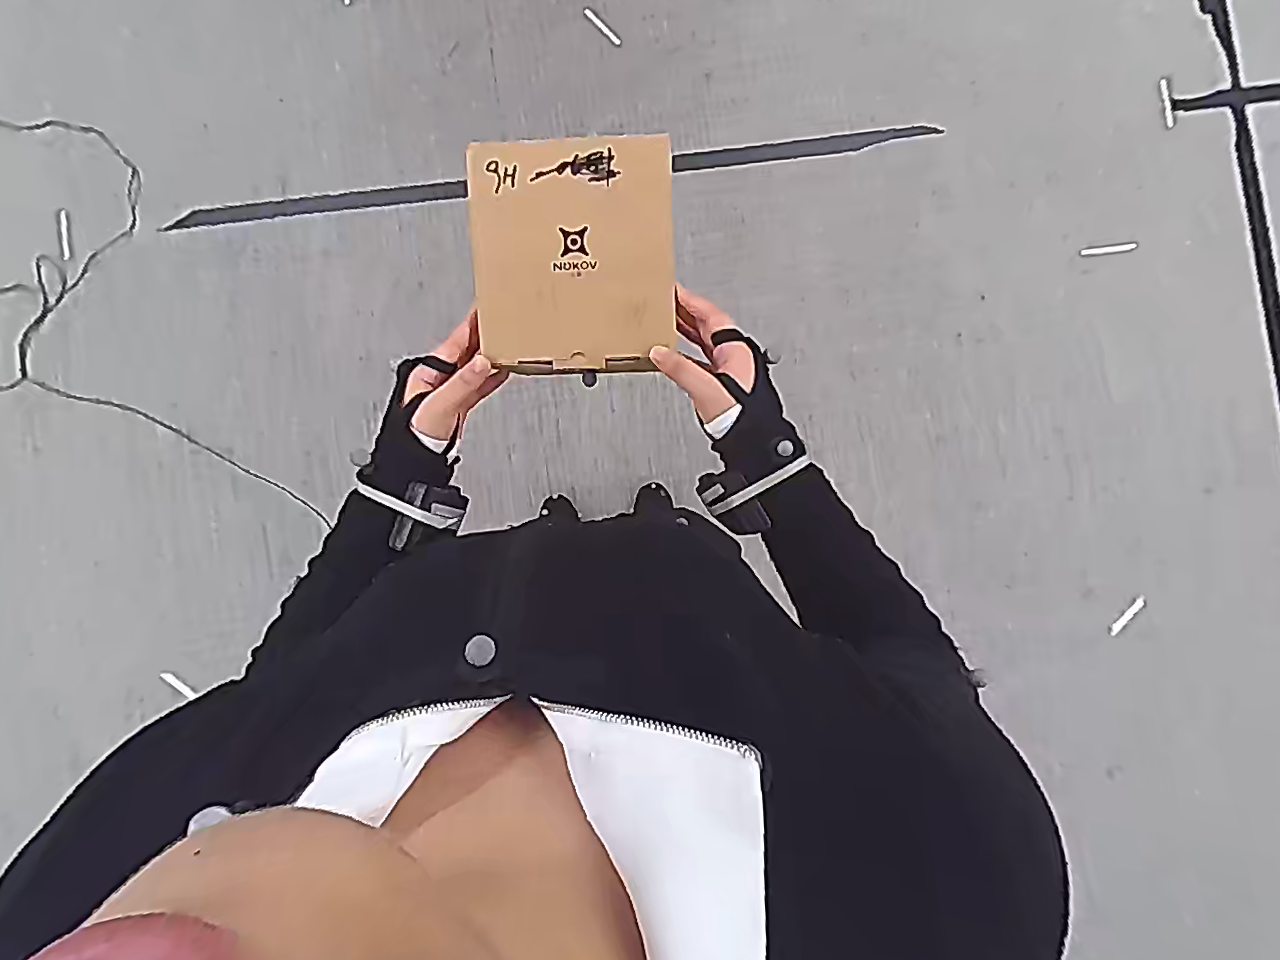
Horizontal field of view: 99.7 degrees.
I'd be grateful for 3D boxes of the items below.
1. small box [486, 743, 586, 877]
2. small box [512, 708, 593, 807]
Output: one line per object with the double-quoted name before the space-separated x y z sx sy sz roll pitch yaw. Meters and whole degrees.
"small box" -0.212 0.689 1.144 0.168 0.176 0.179 -8 89 0
"small box" -0.206 0.675 1.310 0.168 0.176 0.179 -3 89 0
